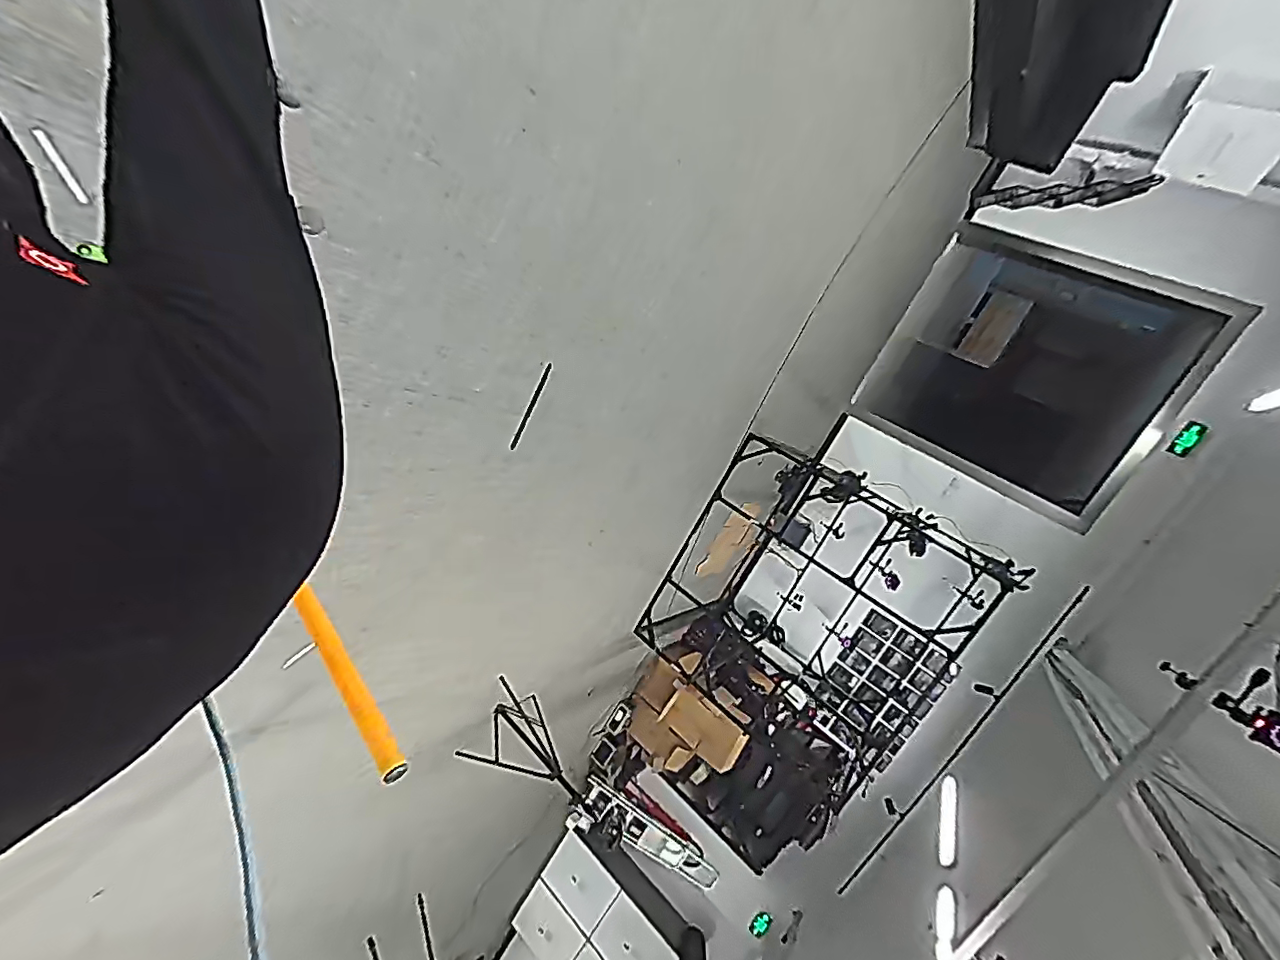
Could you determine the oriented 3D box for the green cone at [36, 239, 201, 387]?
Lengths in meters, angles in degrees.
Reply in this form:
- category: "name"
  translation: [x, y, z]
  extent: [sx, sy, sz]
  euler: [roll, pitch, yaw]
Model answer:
- category: "green cone"
  translation: [-0.941, -0.273, 1.032]
  extent: [0.200, 0.368, 0.202]
  euler: [-59, 155, 9]
